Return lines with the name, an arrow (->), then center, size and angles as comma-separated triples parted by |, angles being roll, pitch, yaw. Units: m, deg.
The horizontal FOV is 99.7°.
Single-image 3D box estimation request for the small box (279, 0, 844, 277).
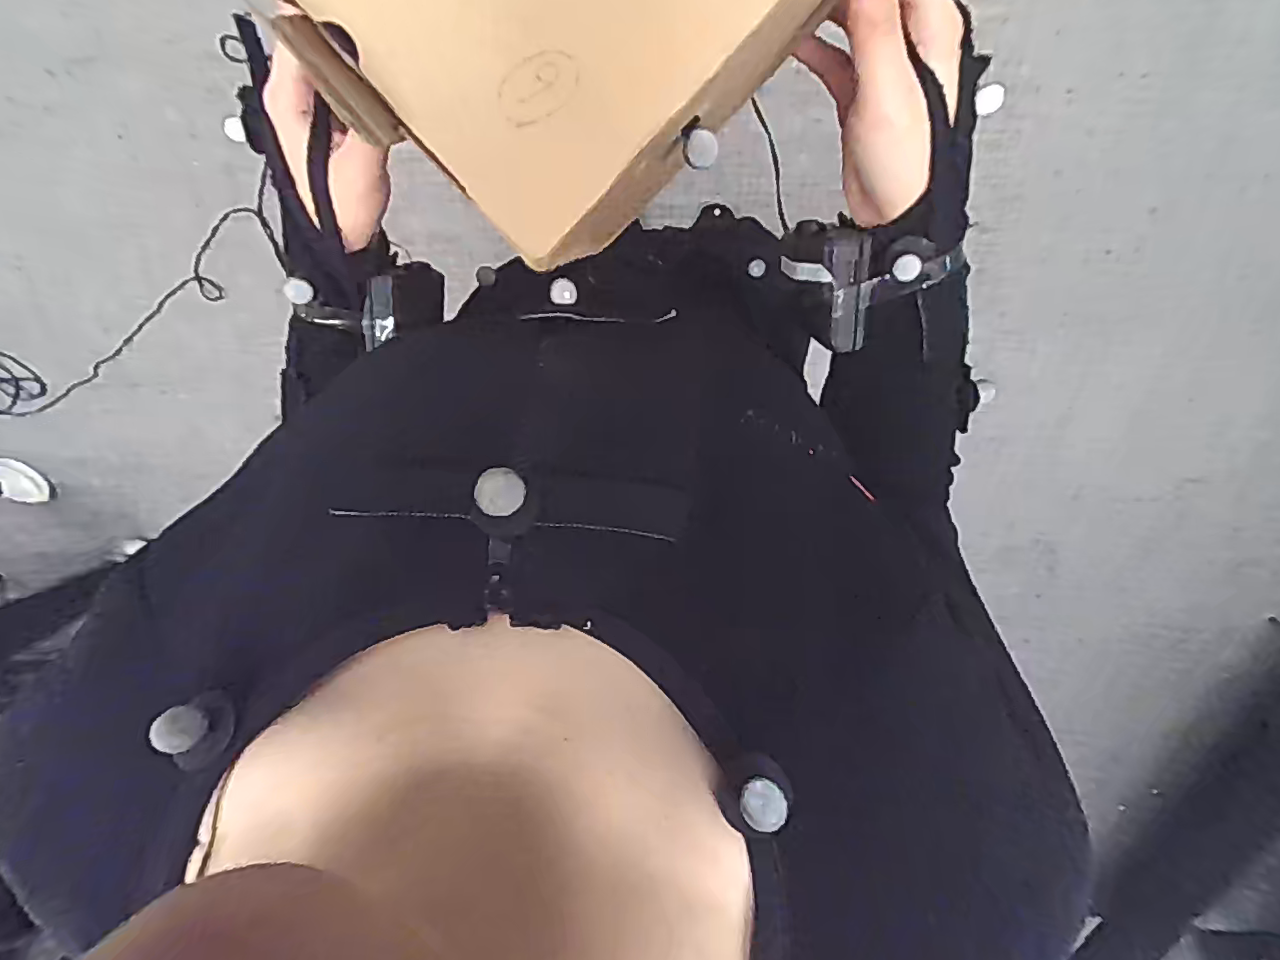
small box -> -0.020, -0.212, 0.224 | 0.179, 0.176, 0.168 | -40, 106, 20
